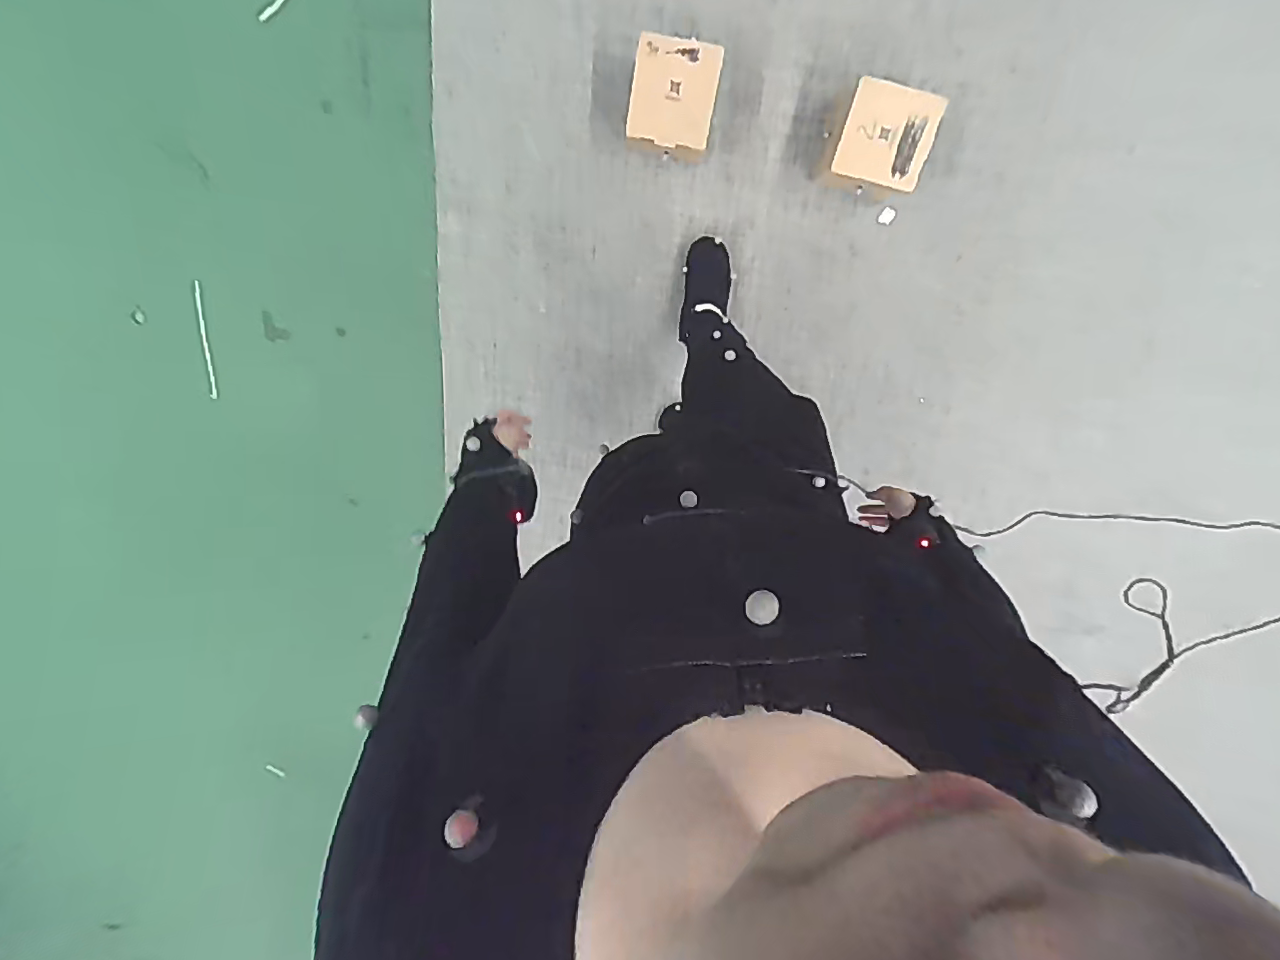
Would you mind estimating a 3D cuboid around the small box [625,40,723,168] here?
[{"bbox_3d":[0.071,-0.773,1.134,0.168,0.176,0.179,12,113,0],"label":"small box"}]
